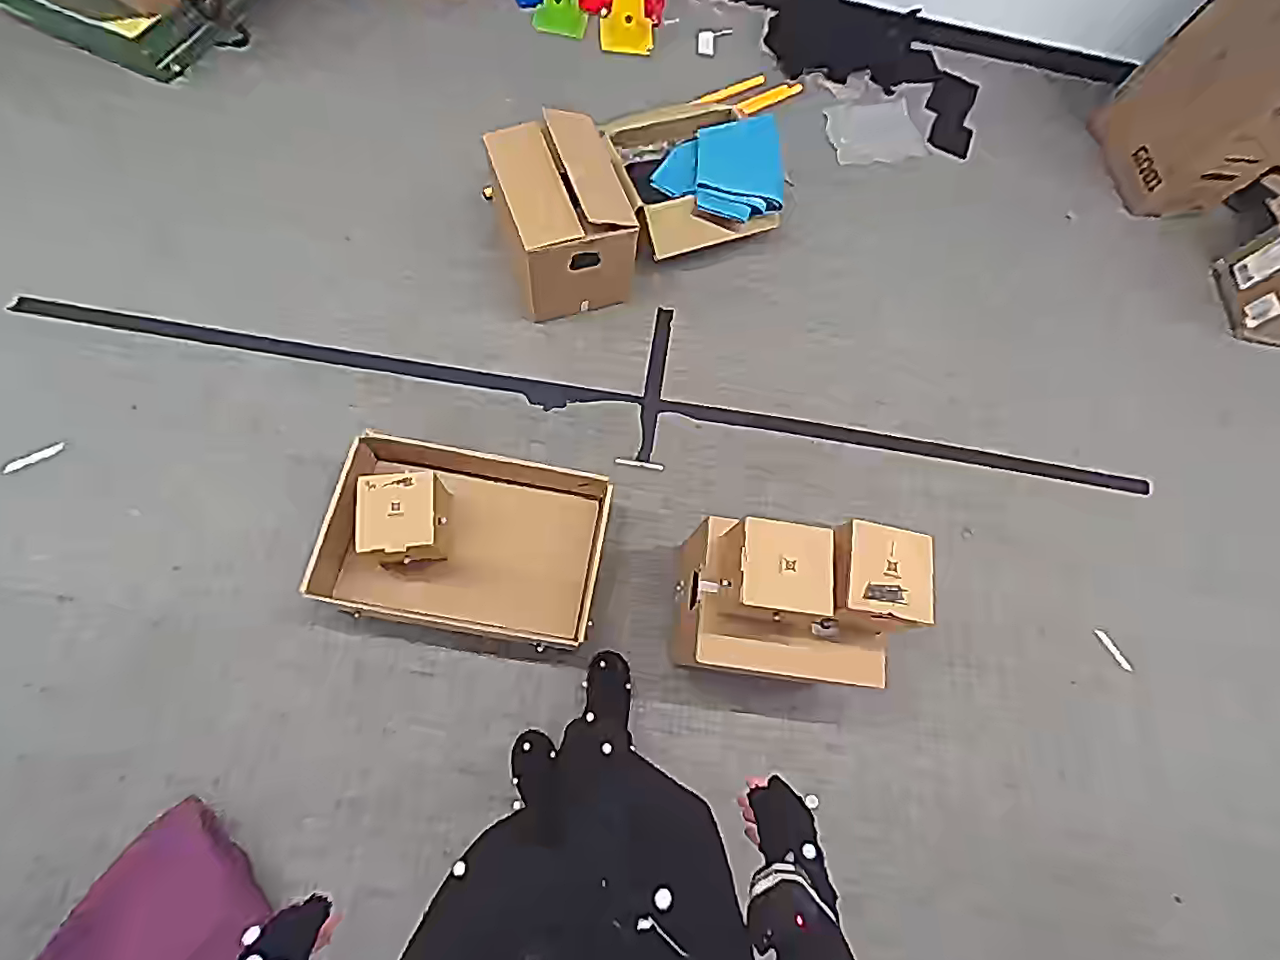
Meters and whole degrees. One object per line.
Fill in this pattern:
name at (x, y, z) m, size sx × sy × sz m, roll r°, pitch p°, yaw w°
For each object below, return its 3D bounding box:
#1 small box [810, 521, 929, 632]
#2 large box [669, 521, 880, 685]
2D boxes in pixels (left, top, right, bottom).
small box at (0.457, 0.203, 1.096) m, size 0.168 × 0.176 × 0.179 m, roll 13°, pitch 68°, yaw -3°
large box at (0.301, 0.308, 1.299) m, size 0.408 × 0.320 × 0.320 m, roll 9°, pitch 70°, yaw -5°
